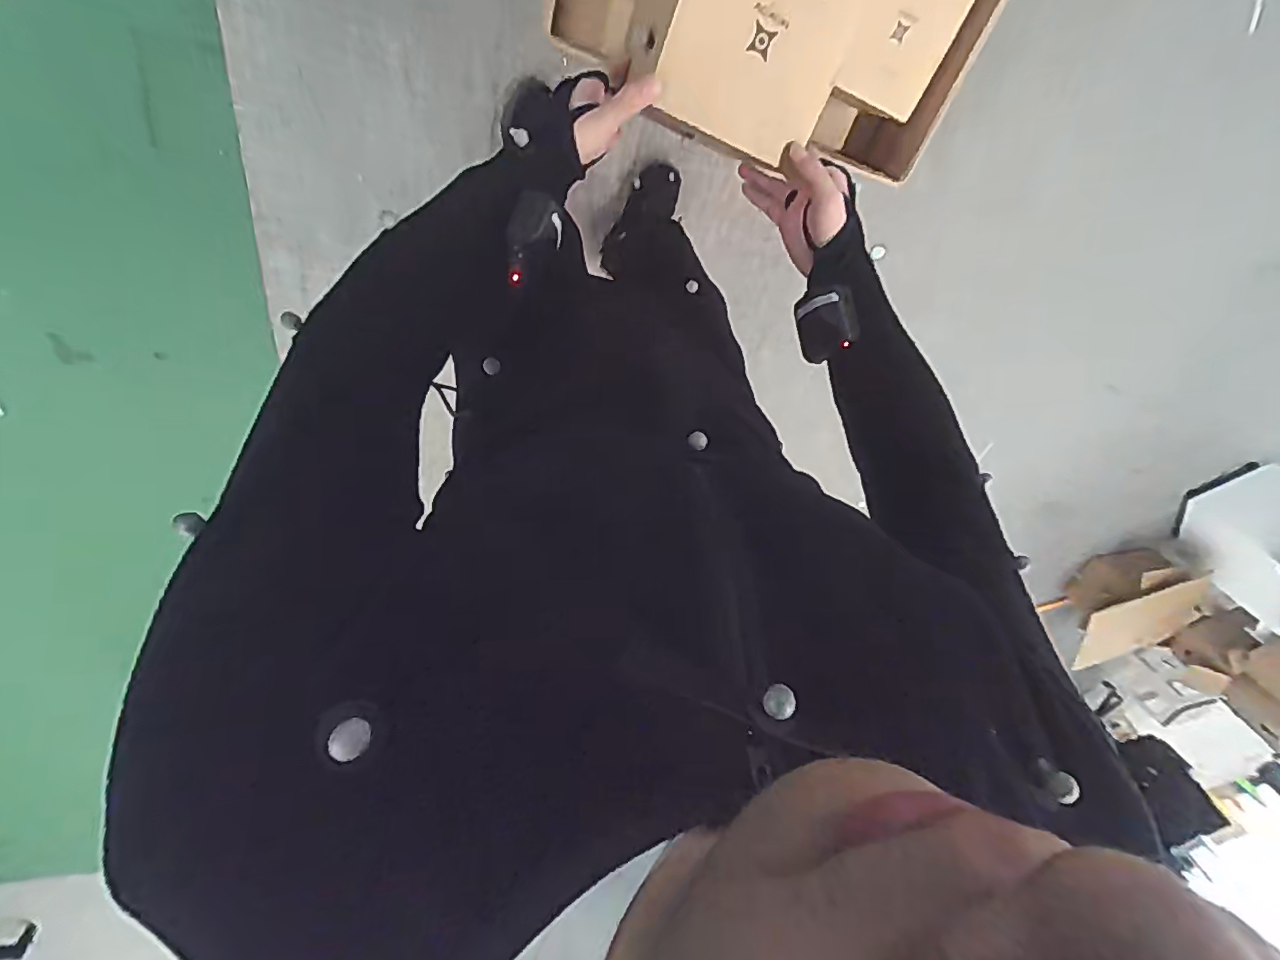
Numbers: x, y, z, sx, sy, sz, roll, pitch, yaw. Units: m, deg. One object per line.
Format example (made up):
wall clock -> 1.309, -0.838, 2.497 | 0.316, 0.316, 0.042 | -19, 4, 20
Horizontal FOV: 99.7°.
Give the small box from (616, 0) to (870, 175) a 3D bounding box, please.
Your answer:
small box -> 0.086, -0.432, 0.531 | 0.168, 0.176, 0.179 | 11, 120, -24
